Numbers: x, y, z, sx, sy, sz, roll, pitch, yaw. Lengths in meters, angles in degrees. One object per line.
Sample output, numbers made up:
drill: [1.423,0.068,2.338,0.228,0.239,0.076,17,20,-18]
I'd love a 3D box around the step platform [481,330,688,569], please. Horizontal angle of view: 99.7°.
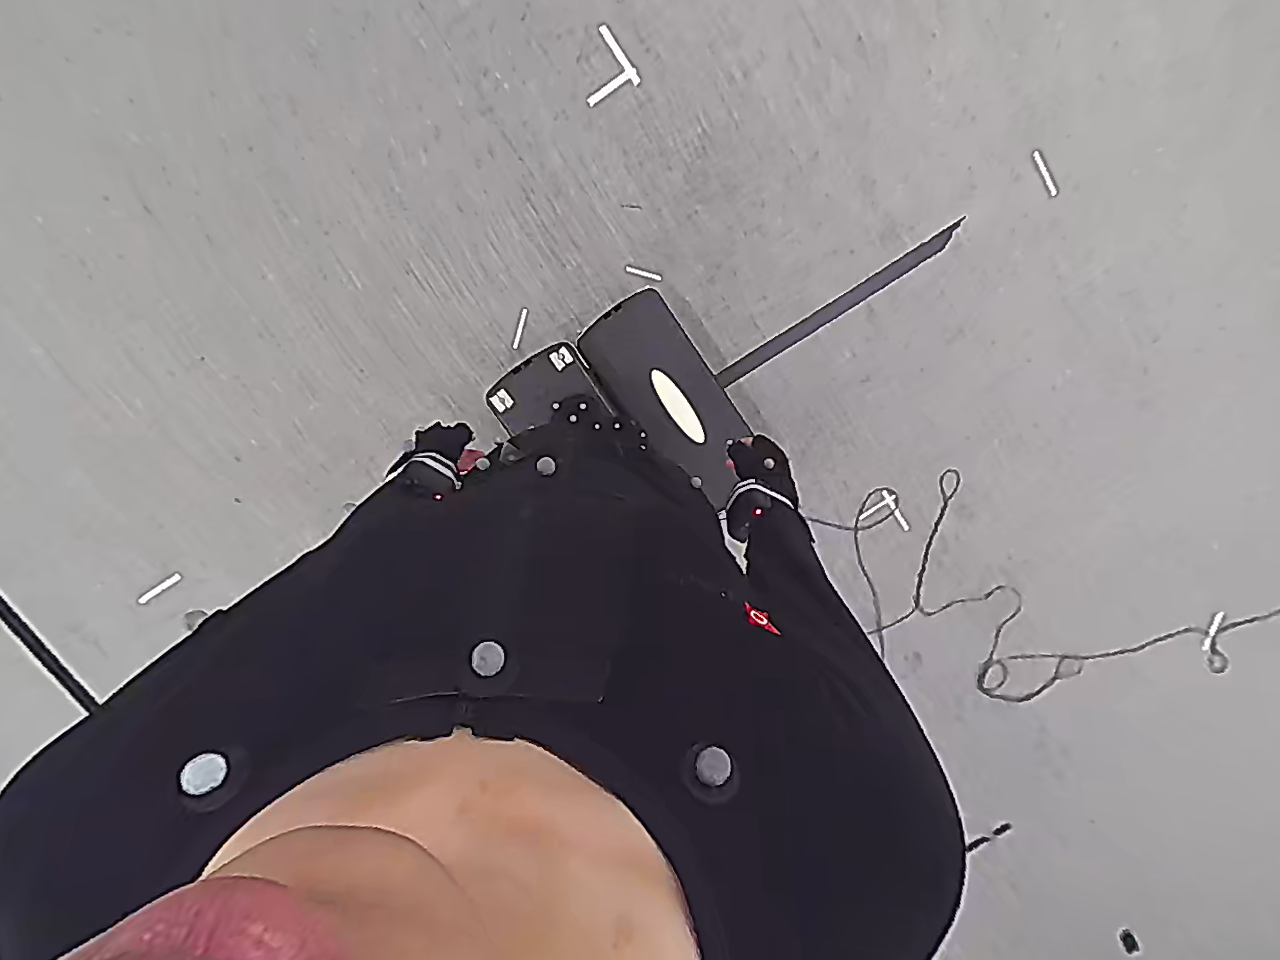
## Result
step platform: [-0.149,-0.082,1.557,0.286,0.204,0.684,-35,97,3]
